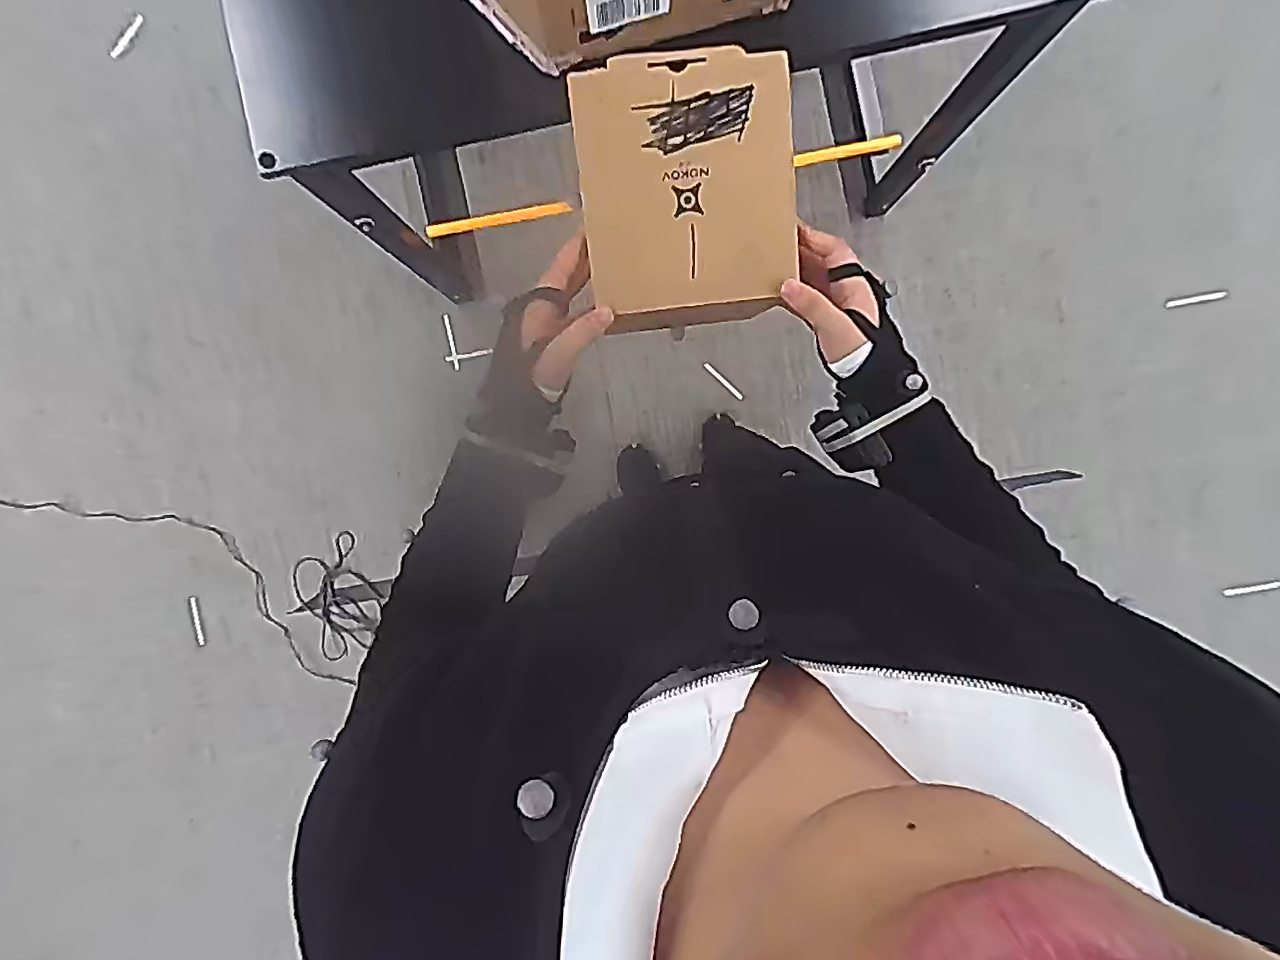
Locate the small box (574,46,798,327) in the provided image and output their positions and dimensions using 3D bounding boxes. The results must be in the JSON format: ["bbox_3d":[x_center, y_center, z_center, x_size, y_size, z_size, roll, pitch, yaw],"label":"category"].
[{"bbox_3d":[0.035,-0.247,0.499,0.168,0.176,0.179,-7,100,0],"label":"small box"}]
